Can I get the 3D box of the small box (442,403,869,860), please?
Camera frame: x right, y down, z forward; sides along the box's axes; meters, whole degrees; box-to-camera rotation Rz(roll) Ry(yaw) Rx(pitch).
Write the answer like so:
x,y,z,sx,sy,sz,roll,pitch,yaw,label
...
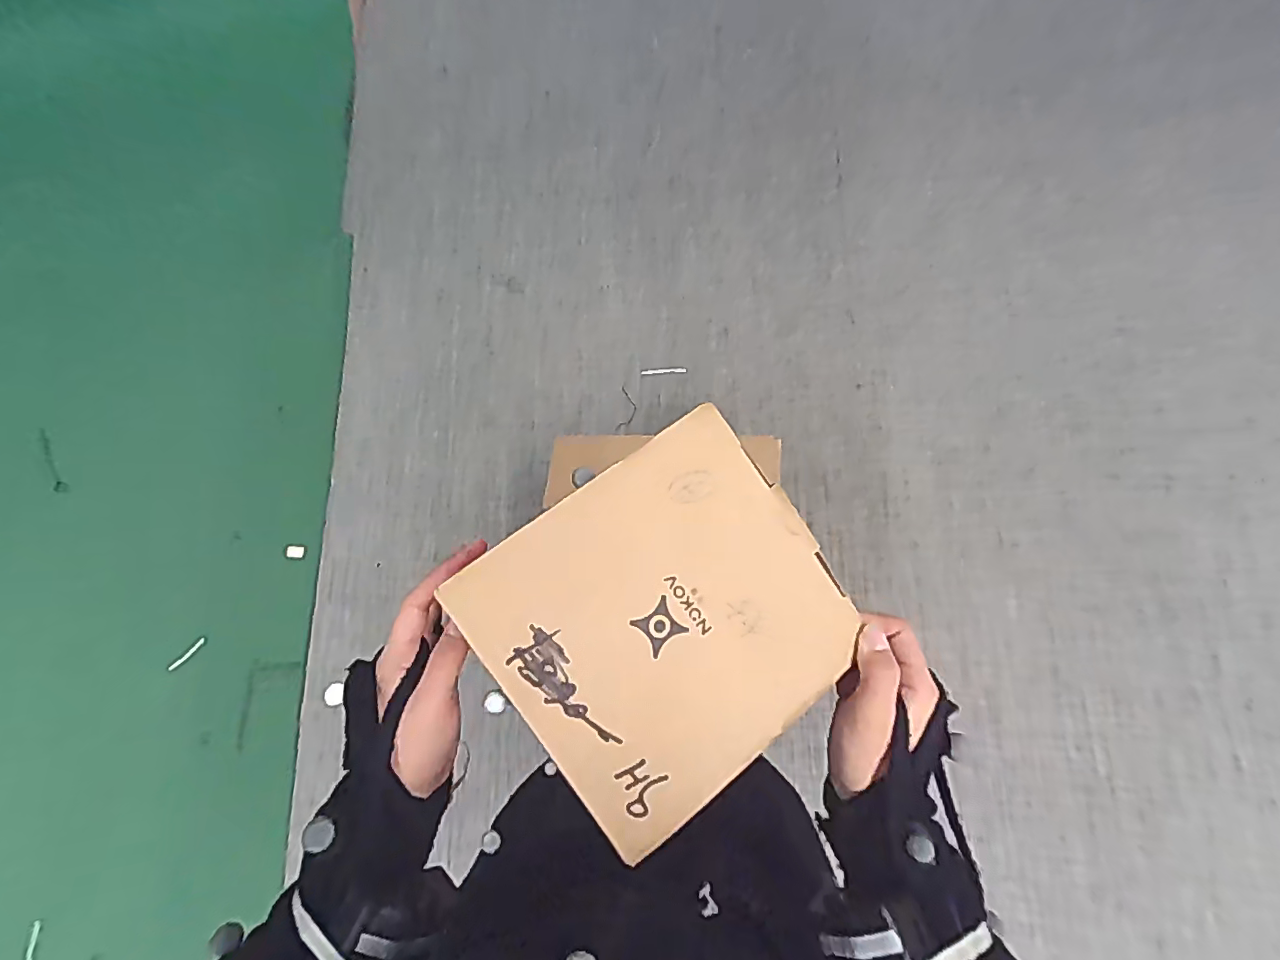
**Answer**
x,y,z,sx,sy,sz,roll,pitch,yaw,label
-0.002,0.079,0.353,0.179,0.176,0.168,-34,90,-16,small box
